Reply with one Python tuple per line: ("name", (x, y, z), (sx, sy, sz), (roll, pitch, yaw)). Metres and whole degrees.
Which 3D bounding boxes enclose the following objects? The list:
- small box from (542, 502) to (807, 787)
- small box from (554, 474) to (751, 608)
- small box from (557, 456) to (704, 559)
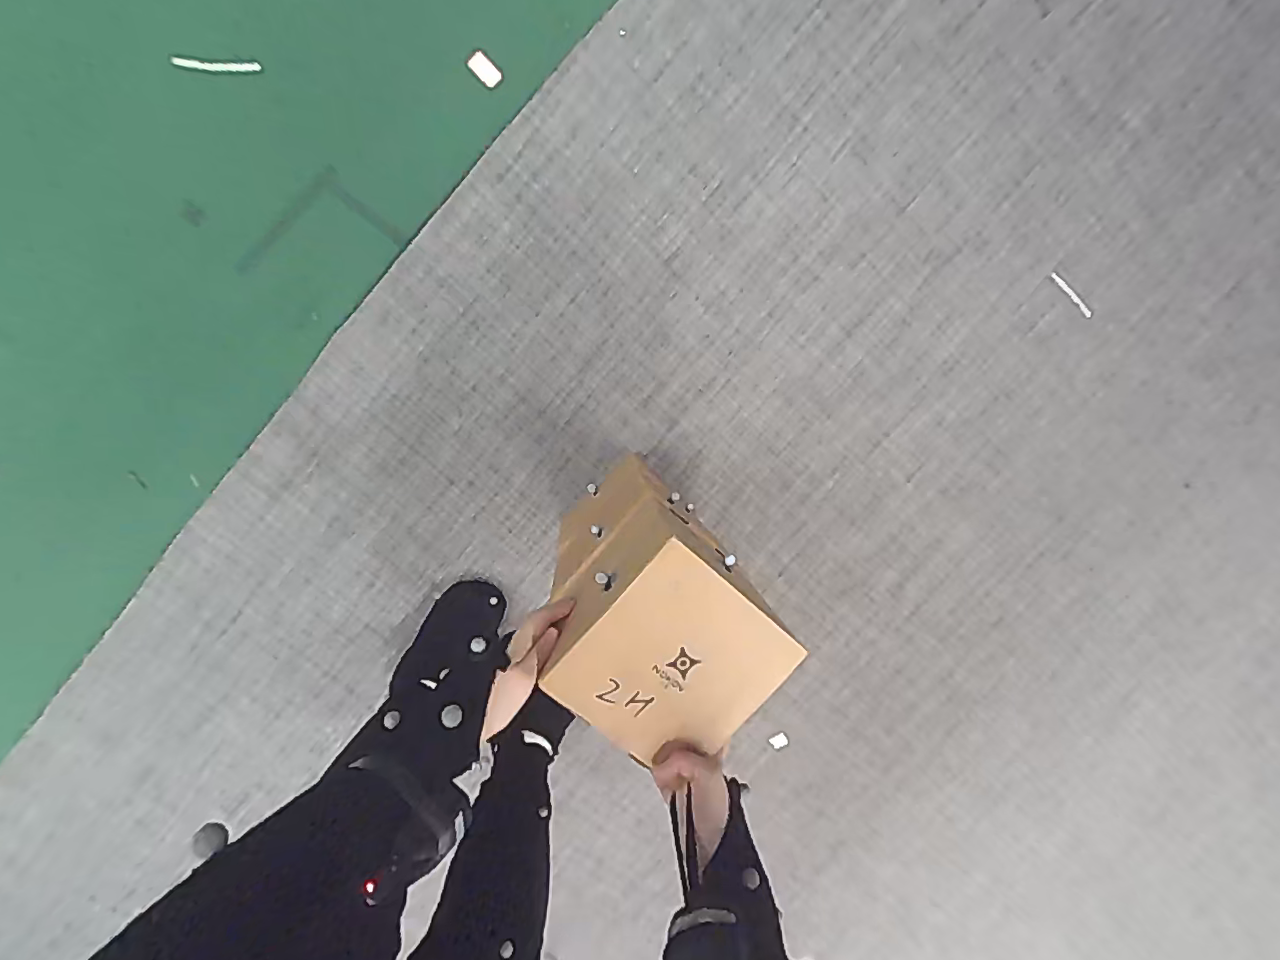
("small box", (0.024, 0.144, 0.538), (0.168, 0.176, 0.179), (41, 94, -9))
("small box", (0.008, 0.112, 0.700), (0.168, 0.176, 0.179), (41, 95, -9))
("small box", (-0.008, 0.083, 0.859), (0.168, 0.176, 0.179), (44, 94, -10))
